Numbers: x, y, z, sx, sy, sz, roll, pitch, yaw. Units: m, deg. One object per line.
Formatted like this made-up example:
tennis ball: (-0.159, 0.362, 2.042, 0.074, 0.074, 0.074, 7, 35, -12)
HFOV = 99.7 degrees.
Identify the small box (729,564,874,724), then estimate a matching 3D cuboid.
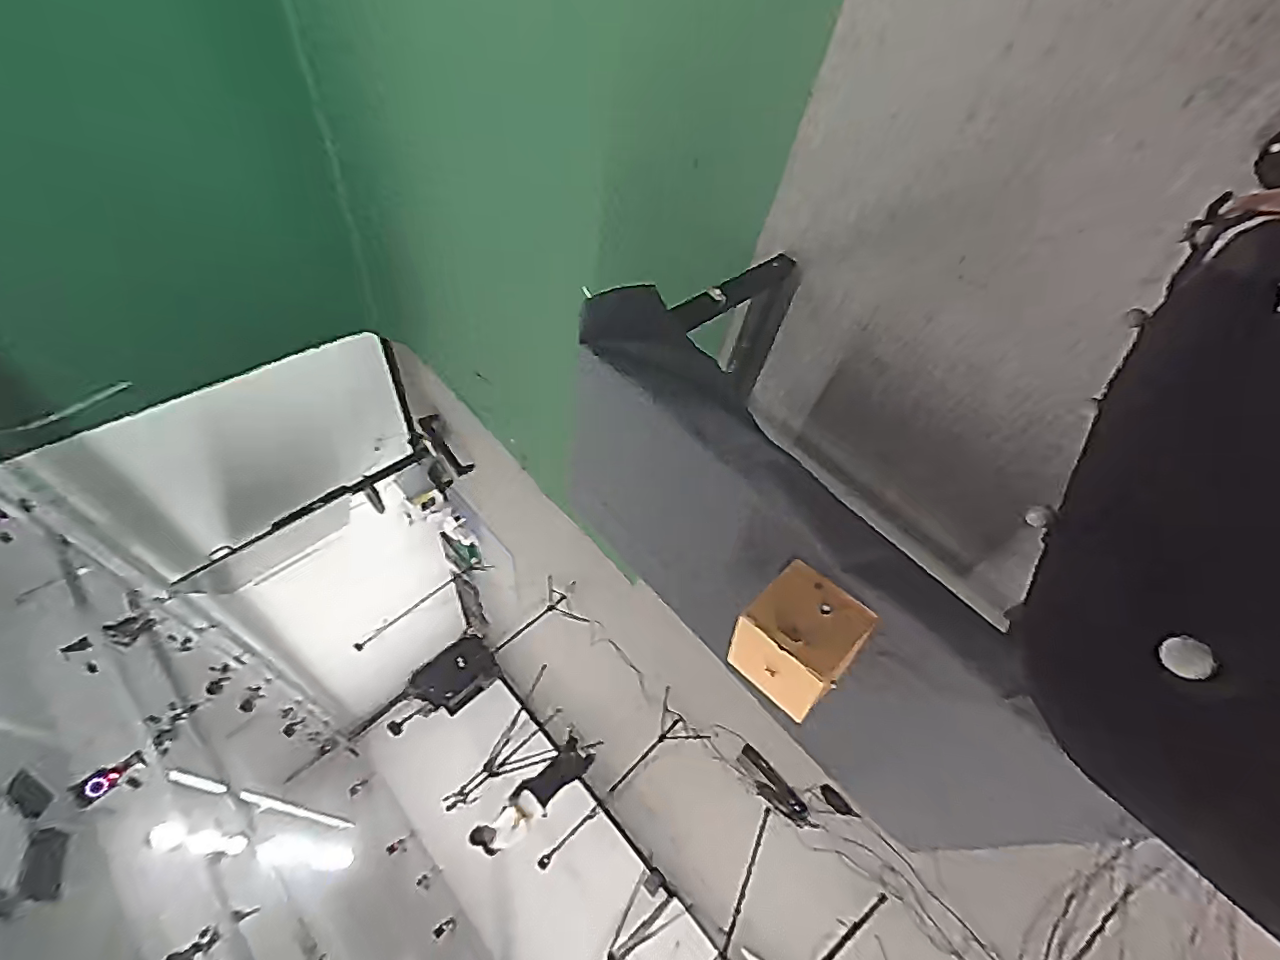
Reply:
small box: (0.283, 0.286, 0.959, 0.168, 0.176, 0.179, 37, 145, 30)
